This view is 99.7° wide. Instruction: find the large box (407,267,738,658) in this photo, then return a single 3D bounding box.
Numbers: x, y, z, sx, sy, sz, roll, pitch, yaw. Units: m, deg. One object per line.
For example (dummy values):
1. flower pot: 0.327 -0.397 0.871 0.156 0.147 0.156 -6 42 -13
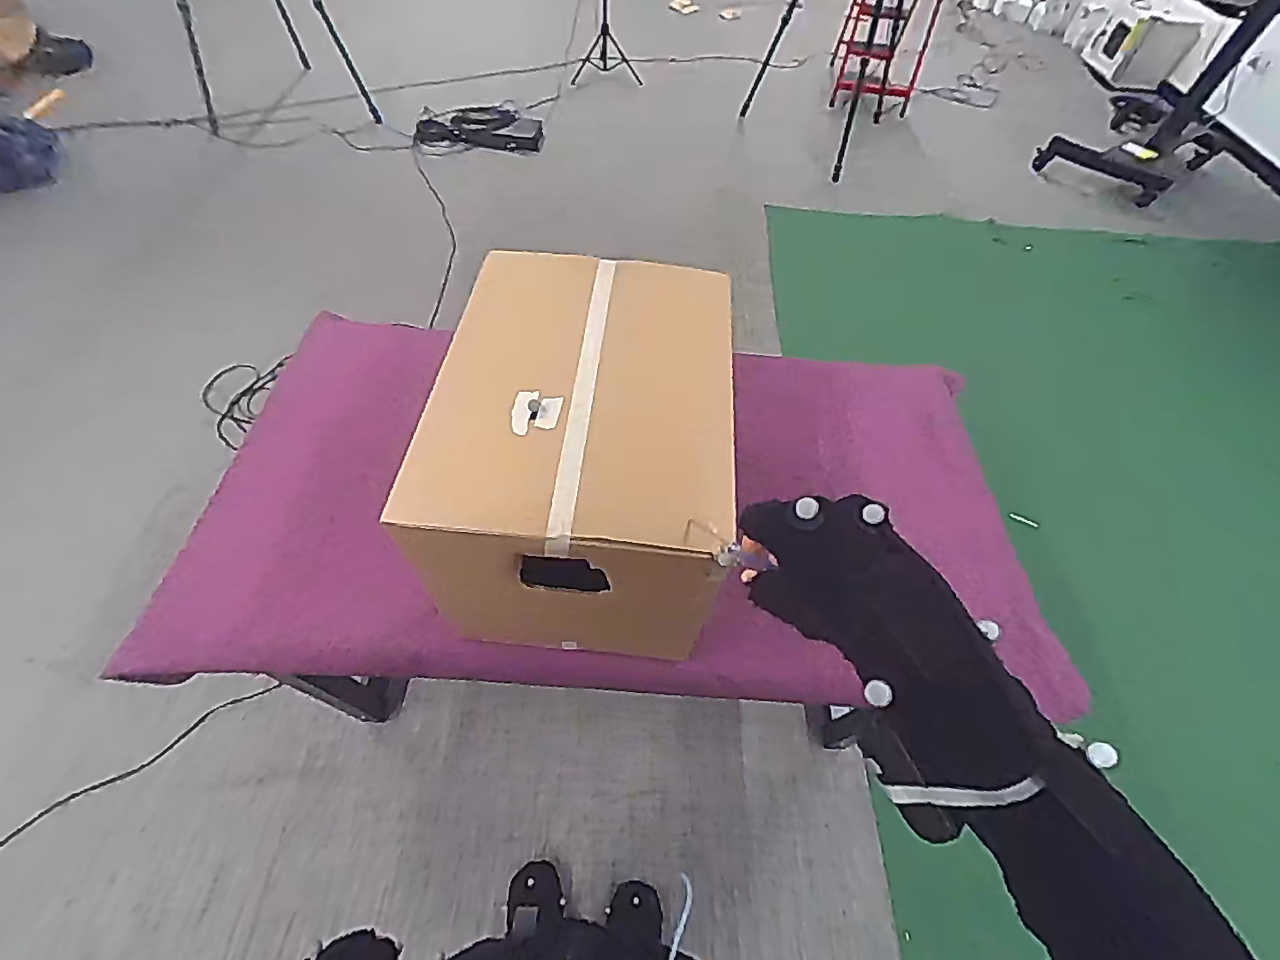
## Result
1. large box: -0.060 -0.017 0.723 0.320 0.320 0.408 6 56 0
